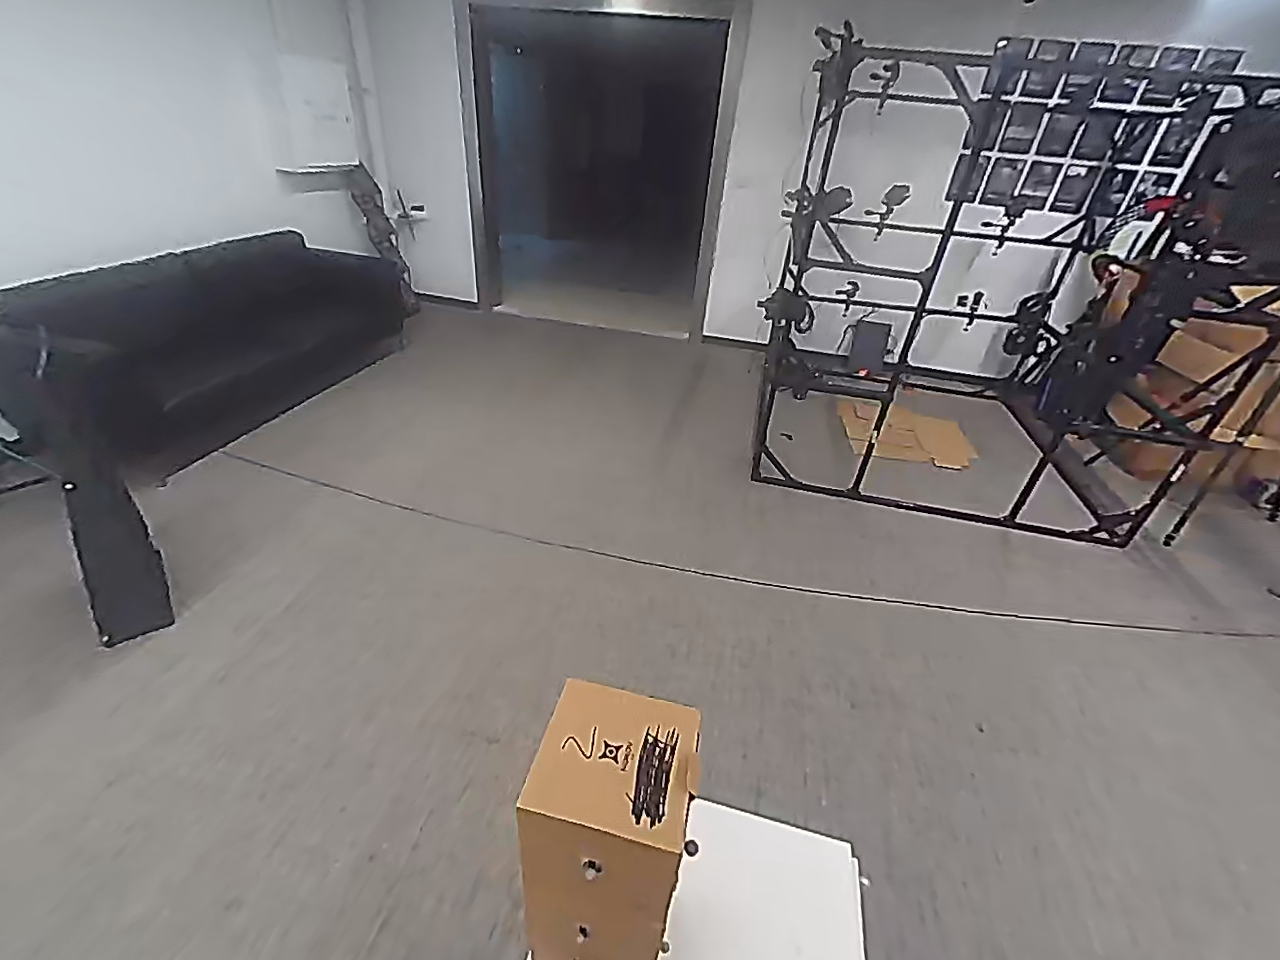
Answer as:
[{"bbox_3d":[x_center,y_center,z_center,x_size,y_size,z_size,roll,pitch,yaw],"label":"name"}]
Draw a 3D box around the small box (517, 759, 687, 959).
[{"bbox_3d":[-0.046,0.516,0.721,0.179,0.176,0.168,11,33,10],"label":"small box"}]
